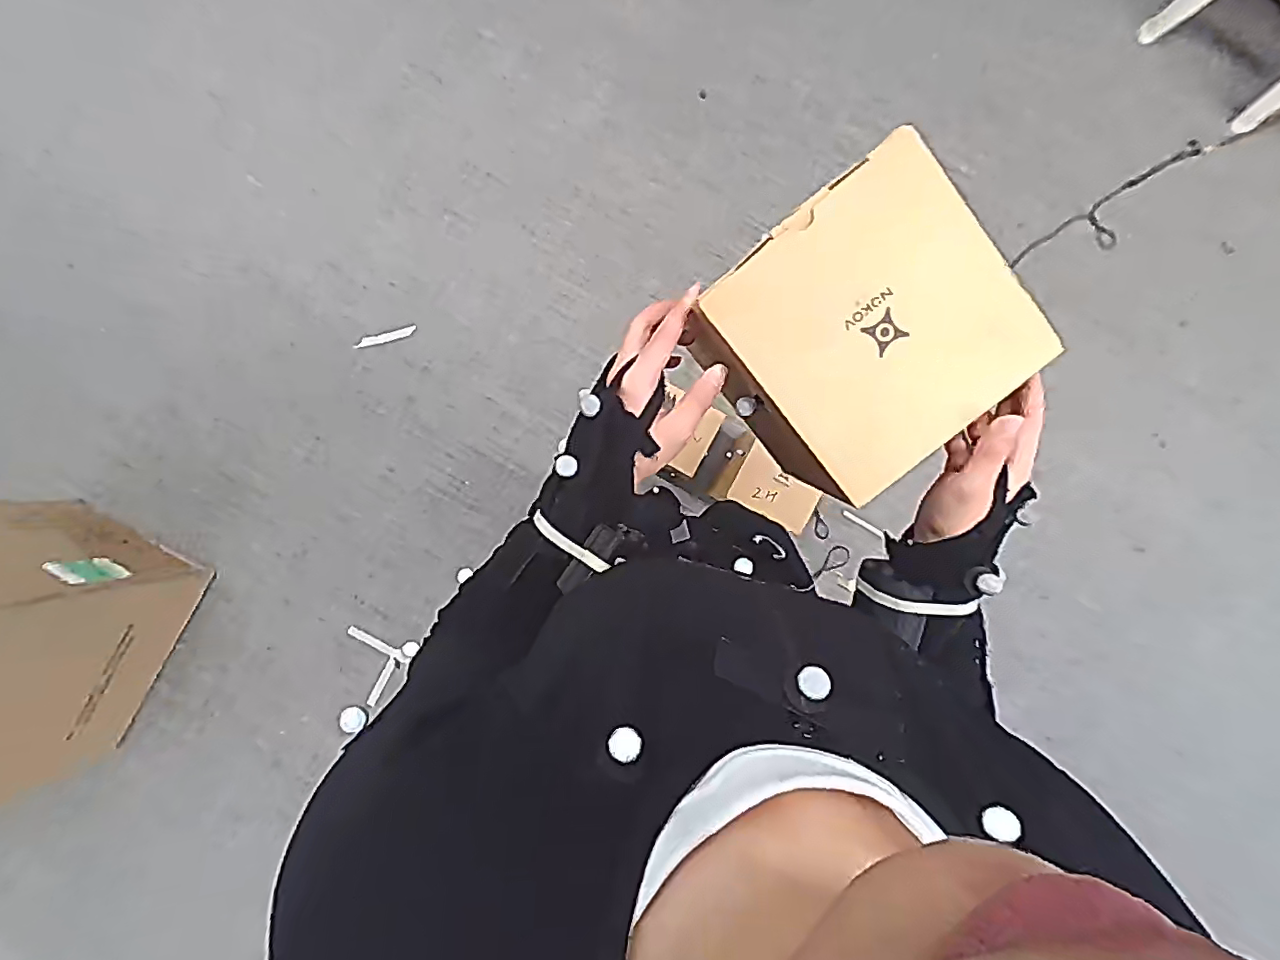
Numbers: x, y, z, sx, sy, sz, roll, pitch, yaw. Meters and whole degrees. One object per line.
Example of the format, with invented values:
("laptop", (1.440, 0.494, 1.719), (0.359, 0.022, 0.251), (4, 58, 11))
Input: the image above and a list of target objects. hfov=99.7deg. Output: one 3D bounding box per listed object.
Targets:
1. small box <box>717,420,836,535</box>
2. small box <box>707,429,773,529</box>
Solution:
("small box", (0.274, -0.005, 1.135), (0.168, 0.176, 0.179), (28, 90, 1))
("small box", (0.274, -0.003, 1.300), (0.168, 0.176, 0.179), (30, 90, 1))
